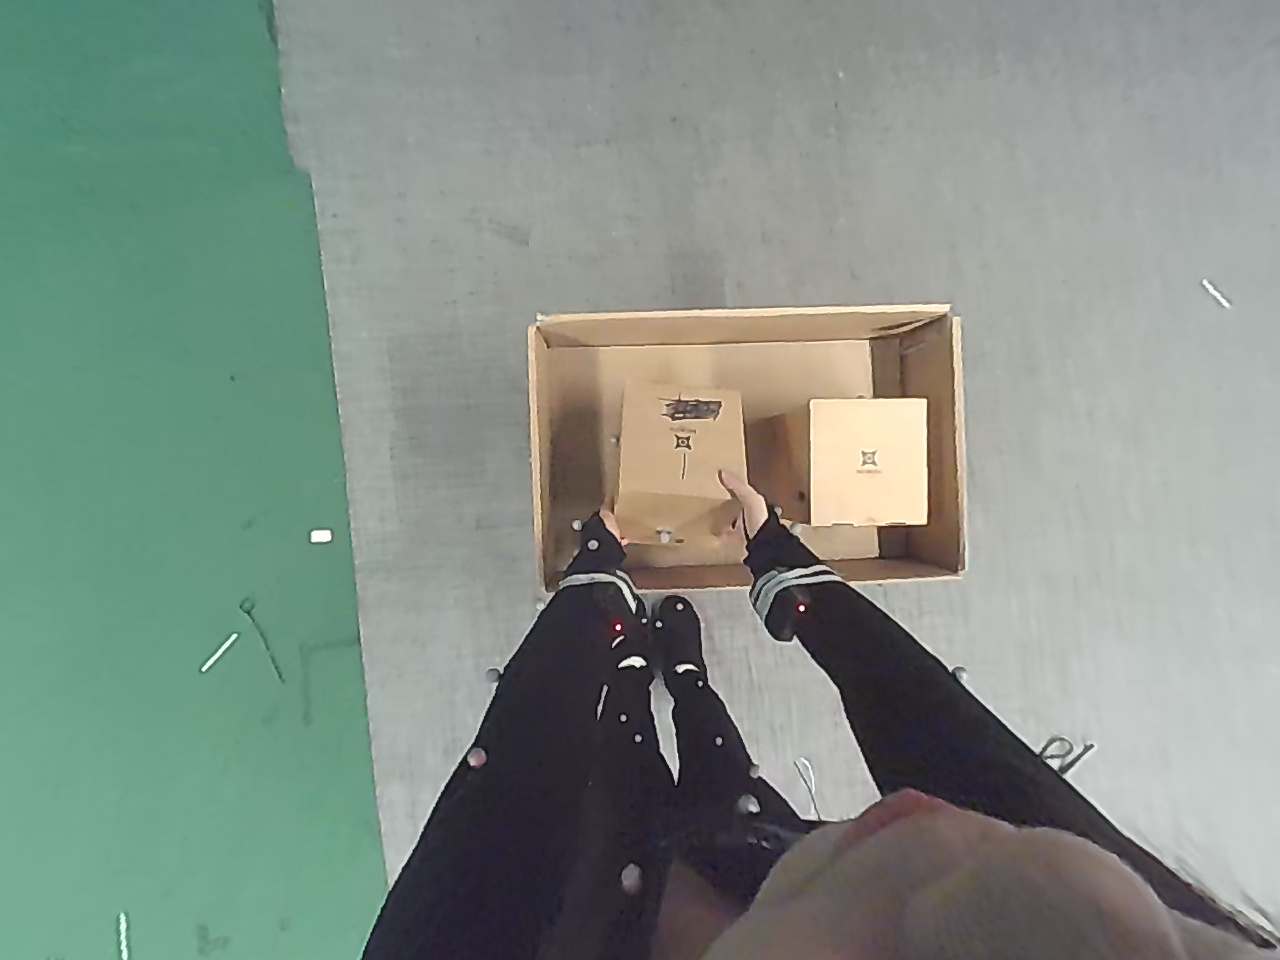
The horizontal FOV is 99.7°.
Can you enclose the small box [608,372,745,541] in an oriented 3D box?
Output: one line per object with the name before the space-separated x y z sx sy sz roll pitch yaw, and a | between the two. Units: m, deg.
small box | 0.044 -0.028 0.775 0.168 0.176 0.179 5 63 -5
